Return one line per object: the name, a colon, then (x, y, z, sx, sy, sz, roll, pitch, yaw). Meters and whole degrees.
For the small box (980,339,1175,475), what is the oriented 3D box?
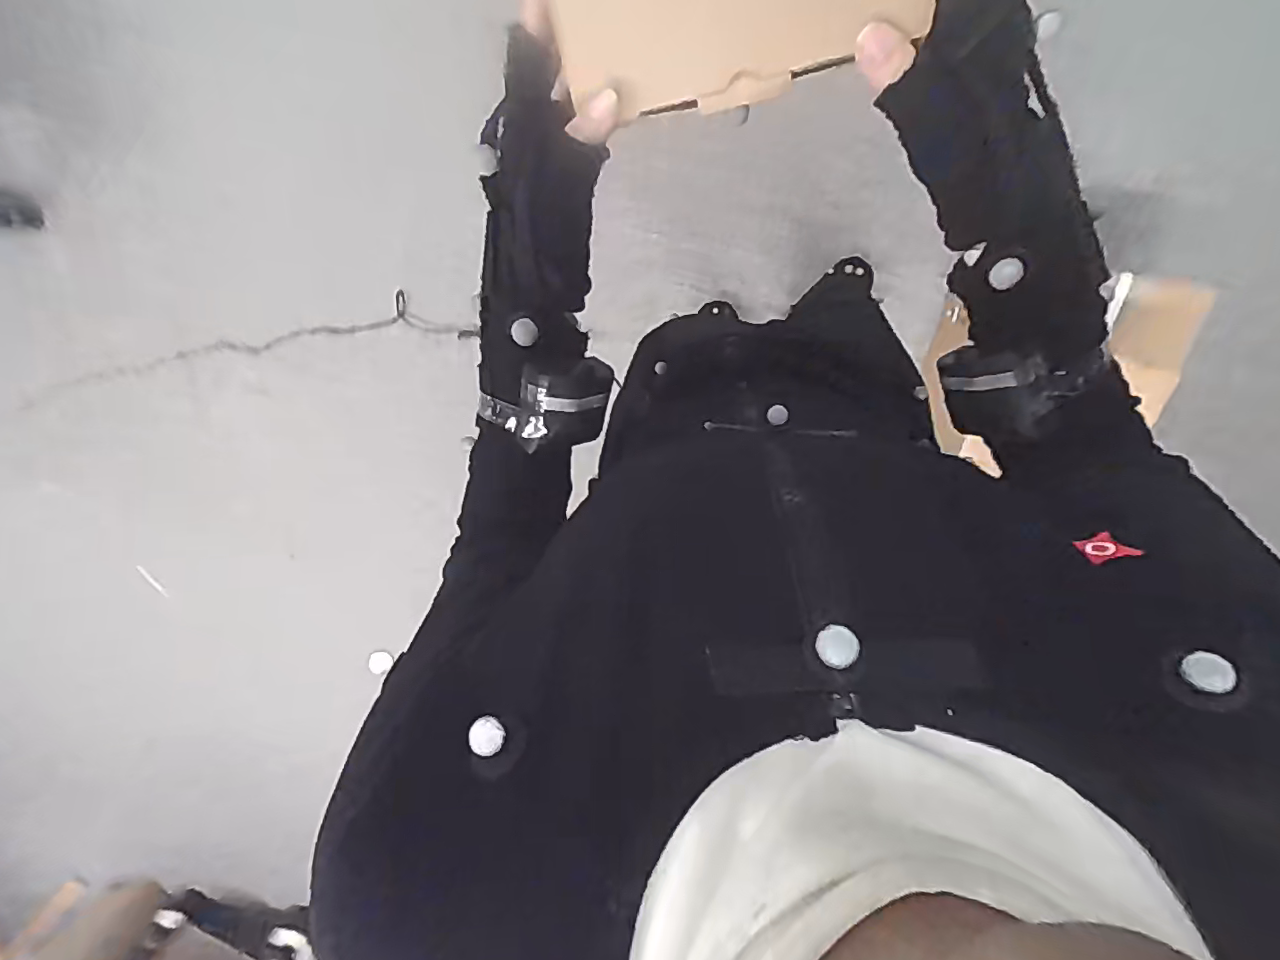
small box: (0.726, -0.133, 0.926, 0.168, 0.176, 0.179, 14, 113, 4)

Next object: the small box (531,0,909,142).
small box: (0.030, -0.300, 0.275, 0.168, 0.176, 0.179, -9, 125, 12)
